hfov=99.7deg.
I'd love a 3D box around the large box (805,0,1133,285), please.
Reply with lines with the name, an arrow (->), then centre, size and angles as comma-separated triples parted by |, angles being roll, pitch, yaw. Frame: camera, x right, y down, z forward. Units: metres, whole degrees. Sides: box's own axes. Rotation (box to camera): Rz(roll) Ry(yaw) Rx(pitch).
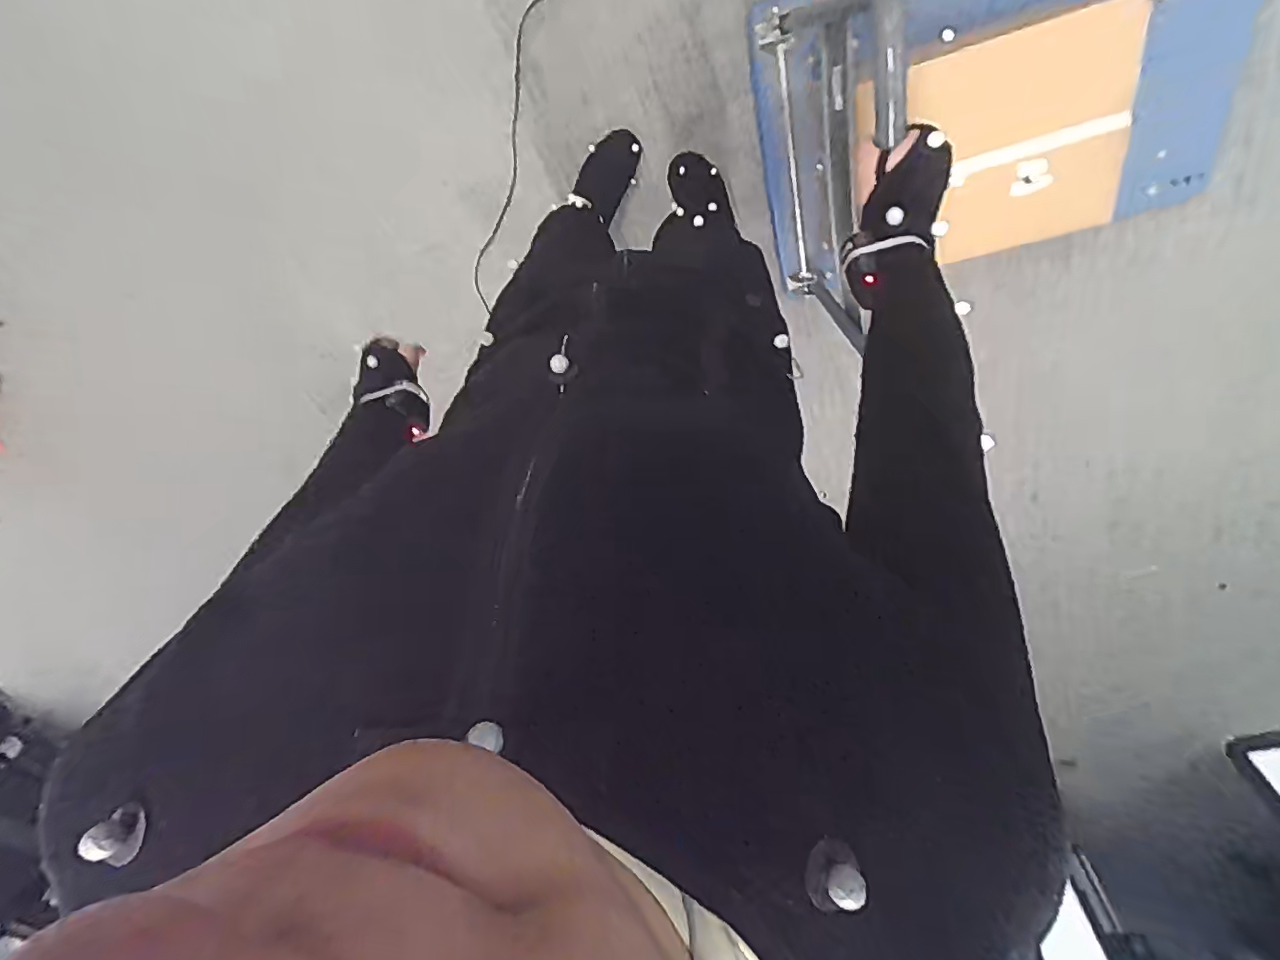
large box -> 0.553, -0.607, 1.000 | 0.408, 0.320, 0.320 | -12, 126, 12
